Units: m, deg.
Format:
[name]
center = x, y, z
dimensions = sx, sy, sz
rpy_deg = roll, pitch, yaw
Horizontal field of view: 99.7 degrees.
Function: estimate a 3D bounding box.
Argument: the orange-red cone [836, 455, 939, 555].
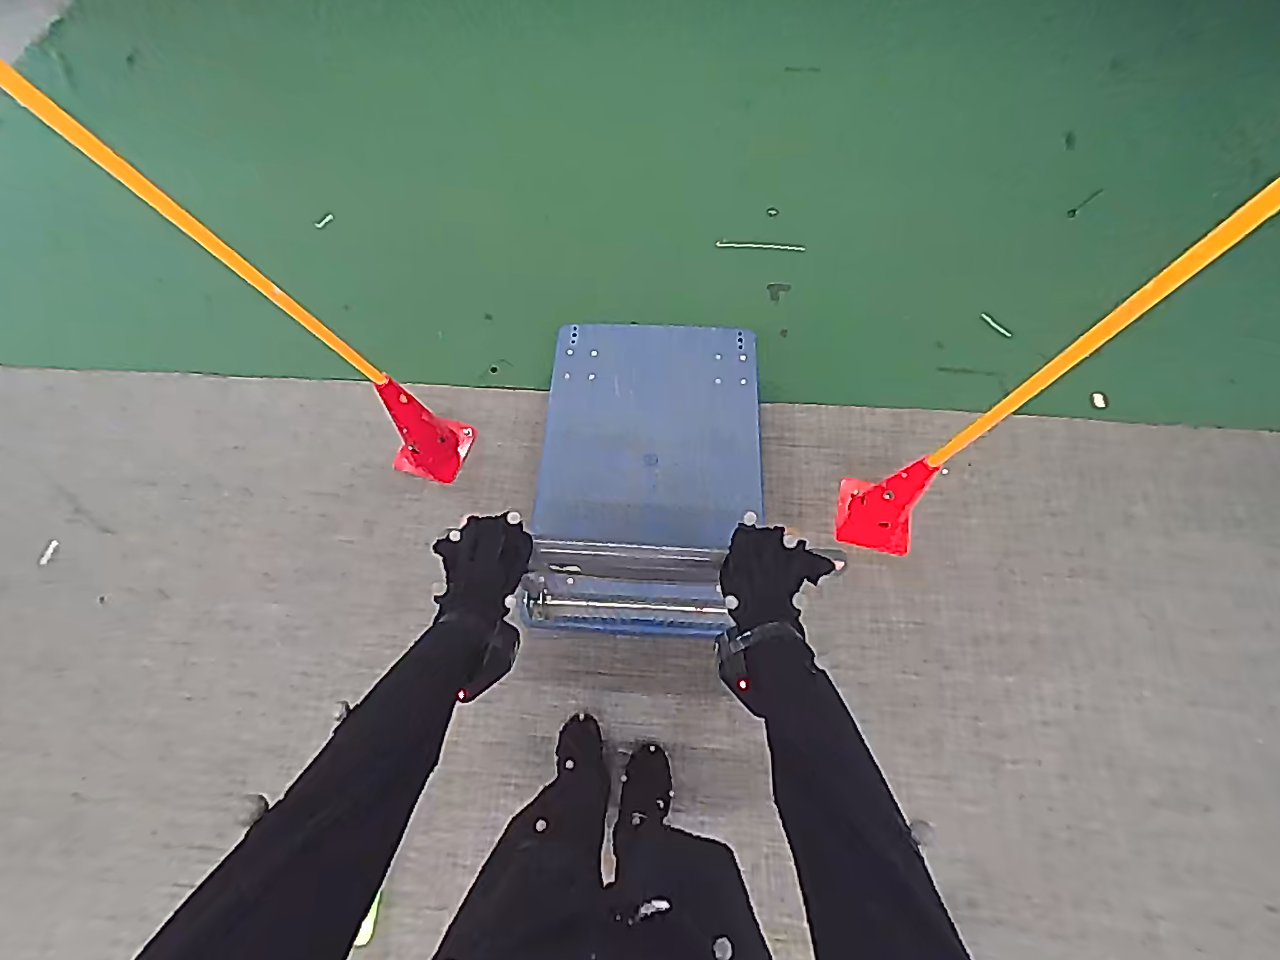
[orange-red cone]
center = 0.648, 0.032, 1.349
dimensions = 0.198, 0.360, 0.199
rpy_deg = 13, 68, 8
